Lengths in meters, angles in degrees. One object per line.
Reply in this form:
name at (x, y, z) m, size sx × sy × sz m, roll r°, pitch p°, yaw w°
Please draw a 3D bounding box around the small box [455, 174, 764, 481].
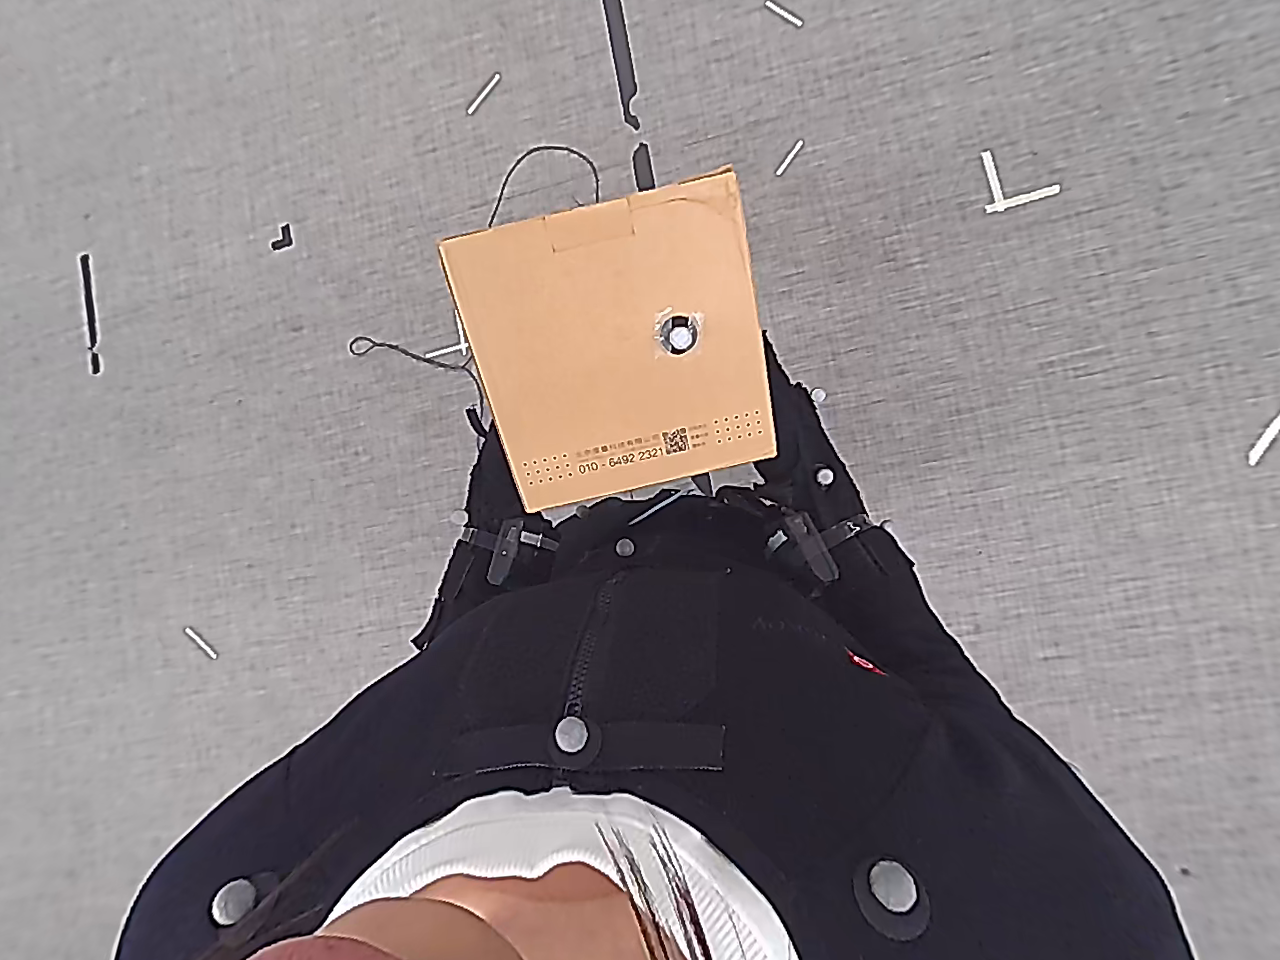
small box at (-0.012, -0.109, 0.410) m, size 0.168 × 0.179 × 0.176 m, roll -12°, pitch 112°, yaw 3°
